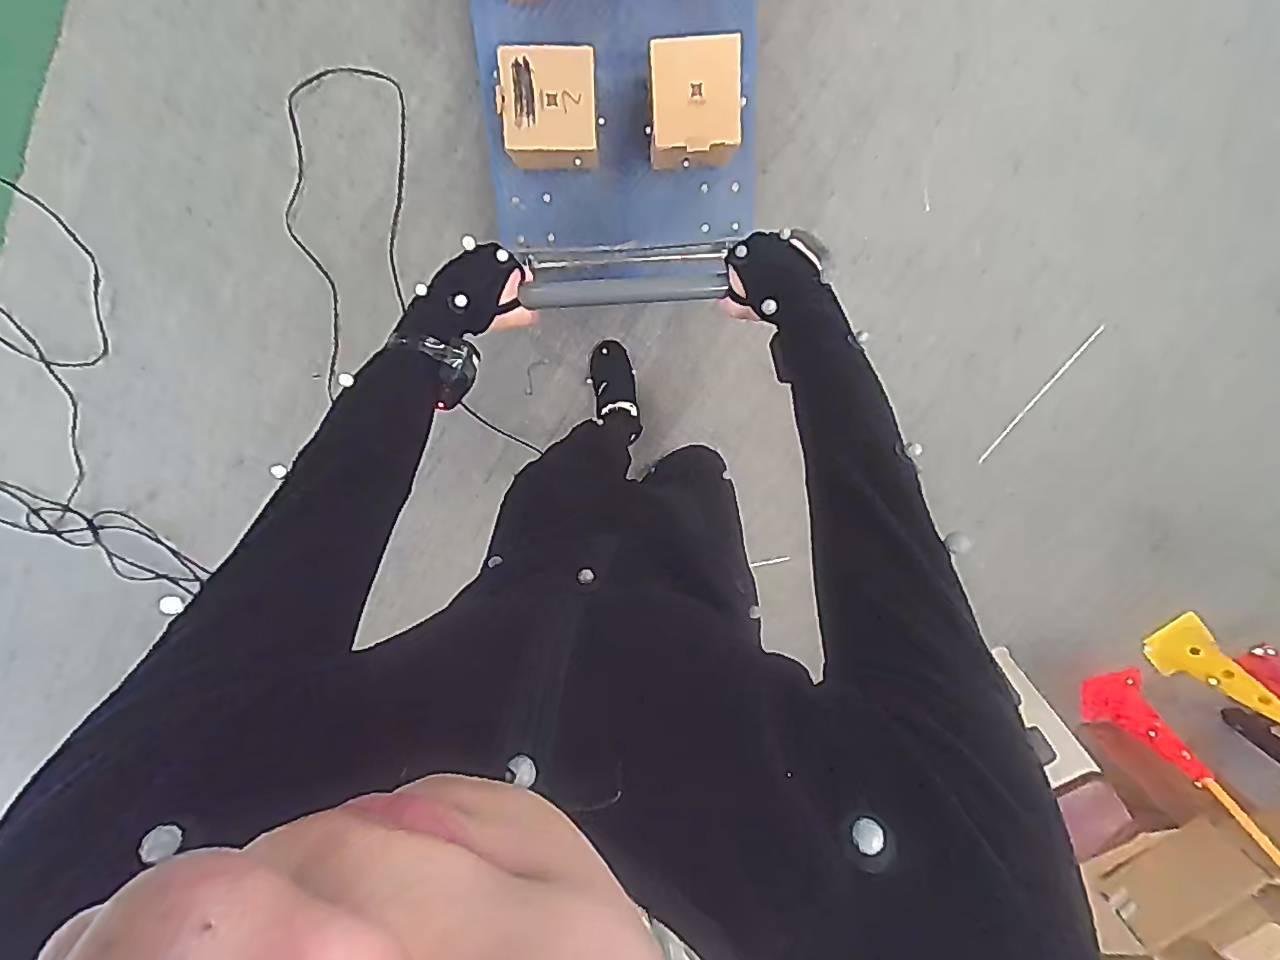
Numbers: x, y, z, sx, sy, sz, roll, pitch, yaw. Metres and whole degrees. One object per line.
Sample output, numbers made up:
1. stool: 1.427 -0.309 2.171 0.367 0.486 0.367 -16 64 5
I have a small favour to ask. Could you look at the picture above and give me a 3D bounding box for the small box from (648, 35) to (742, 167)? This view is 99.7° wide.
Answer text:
1. small box: 0.105 -0.742 1.074 0.168 0.176 0.179 -4 110 0
